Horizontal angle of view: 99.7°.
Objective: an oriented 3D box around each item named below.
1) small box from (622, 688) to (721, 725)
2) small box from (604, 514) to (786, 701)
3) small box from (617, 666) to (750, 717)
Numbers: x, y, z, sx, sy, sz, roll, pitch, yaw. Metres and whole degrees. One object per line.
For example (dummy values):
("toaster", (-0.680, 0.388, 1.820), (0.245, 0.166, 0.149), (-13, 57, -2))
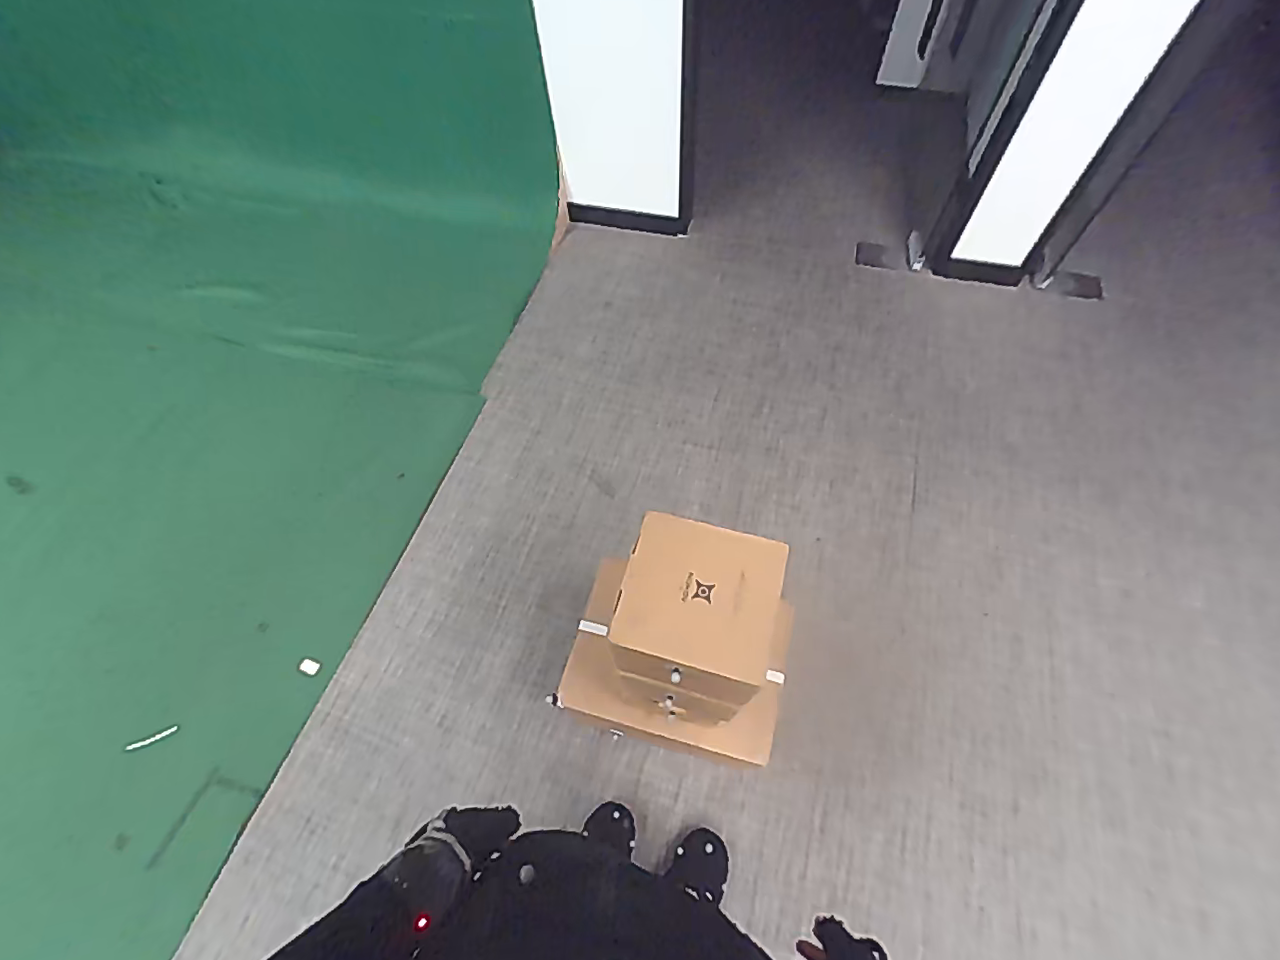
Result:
("small box", (0.075, 0.323, 0.962), (0.168, 0.176, 0.179), (11, 63, 9))
("small box", (0.069, 0.166, 0.677), (0.179, 0.176, 0.168), (13, 63, 9))
("small box", (0.074, 0.250, 0.815), (0.179, 0.176, 0.168), (10, 62, 8))
